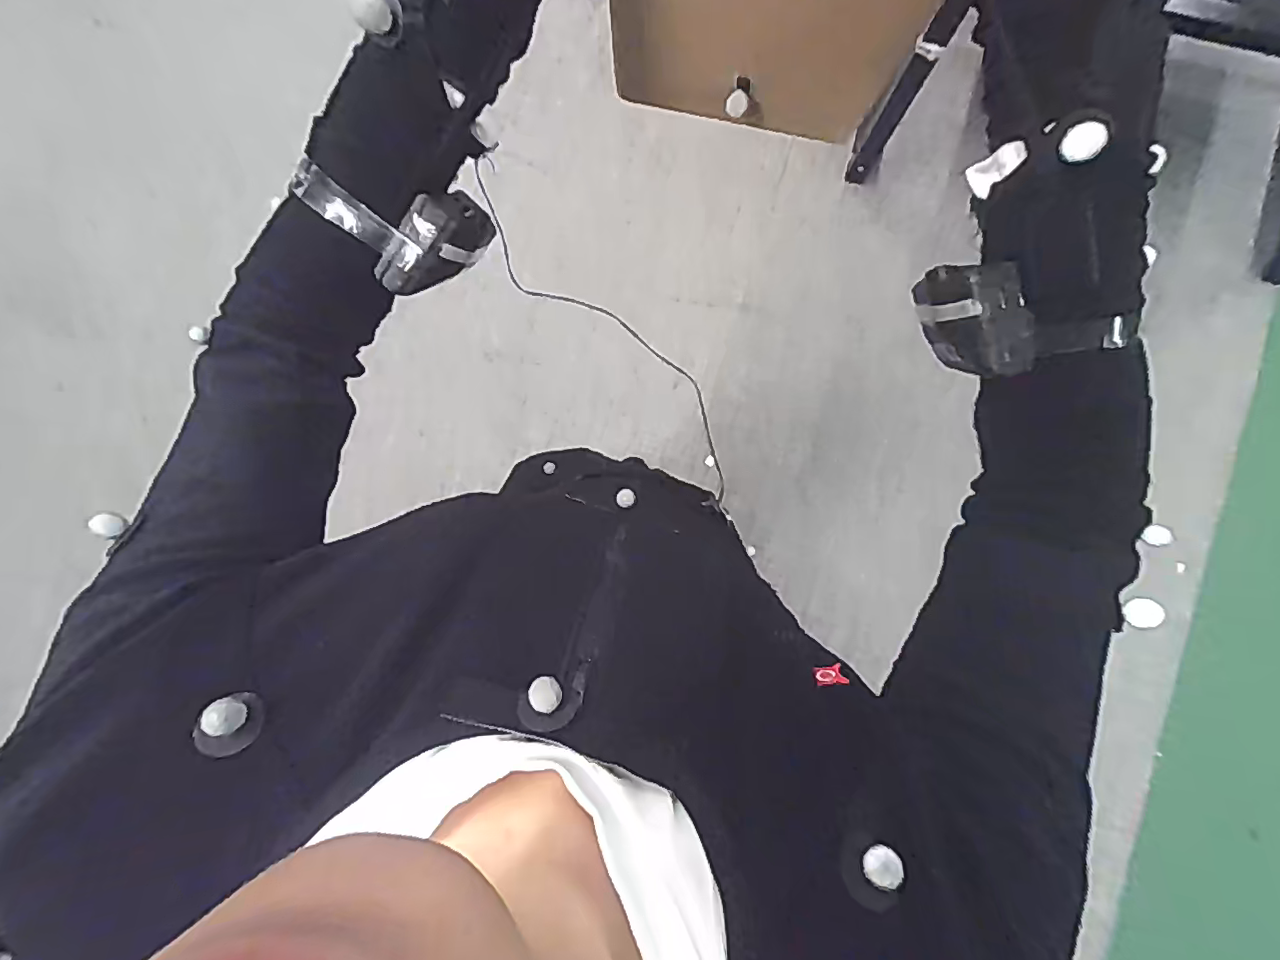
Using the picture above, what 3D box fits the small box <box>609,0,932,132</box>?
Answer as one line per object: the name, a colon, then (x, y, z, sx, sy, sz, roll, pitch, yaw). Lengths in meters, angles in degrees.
small box: (0.082, -0.344, 0.318, 0.179, 0.176, 0.168, 12, 93, -2)
